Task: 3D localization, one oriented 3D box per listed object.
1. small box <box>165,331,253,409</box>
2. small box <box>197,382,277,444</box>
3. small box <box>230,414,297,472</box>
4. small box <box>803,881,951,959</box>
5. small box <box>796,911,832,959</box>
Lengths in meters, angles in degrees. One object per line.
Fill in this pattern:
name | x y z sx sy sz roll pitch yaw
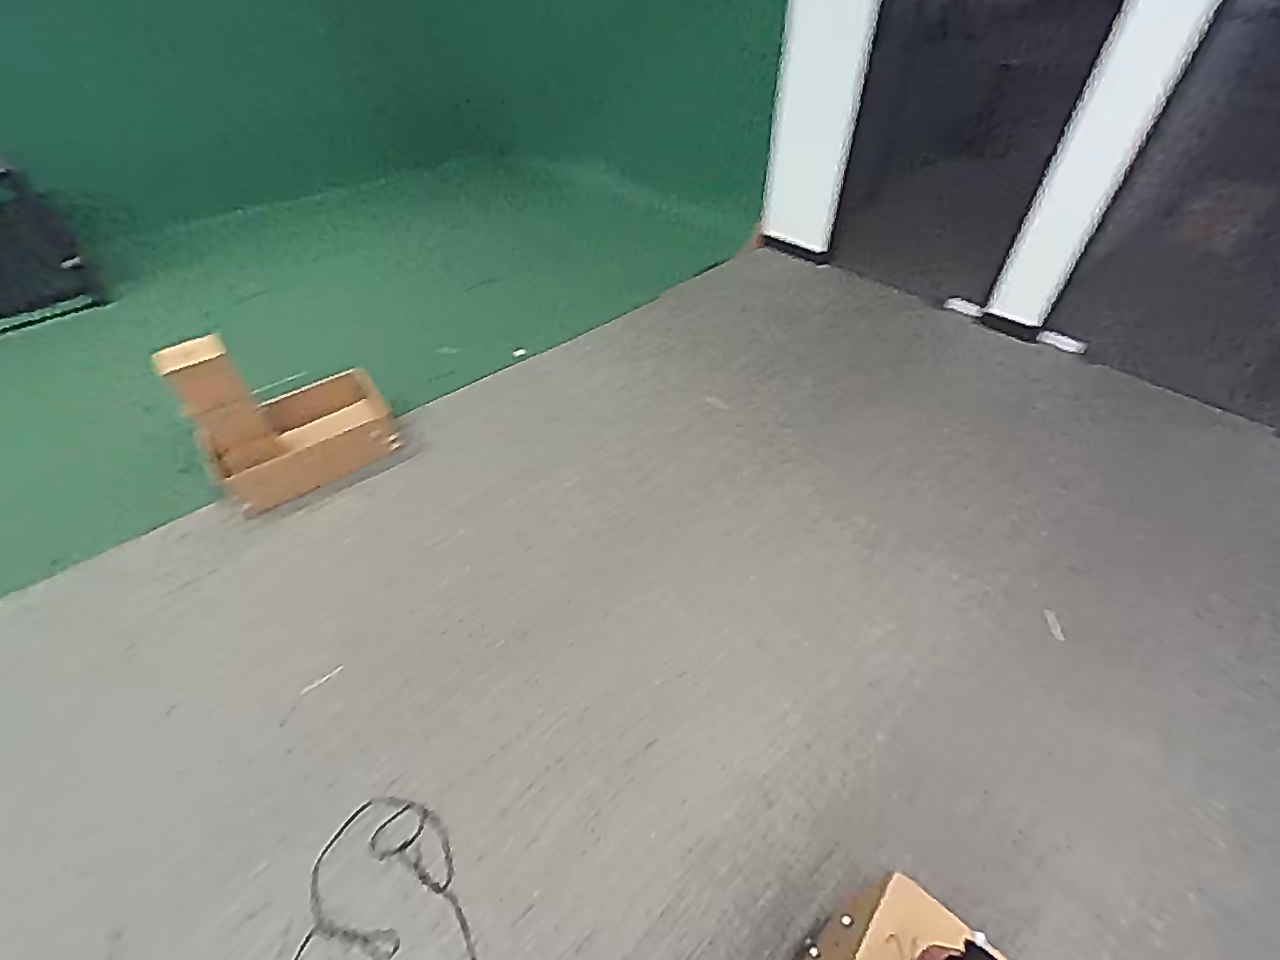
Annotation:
small box | -1.459 -0.375 1.843 0.179 0.176 0.168 -31 53 -25
small box | -1.466 -0.257 1.960 0.179 0.176 0.168 -30 53 -25
small box | -1.465 -0.153 2.086 0.168 0.176 0.179 -31 54 -25
small box | 0.393 0.838 0.918 0.168 0.176 0.179 36 56 29
small box | 0.405 0.955 1.031 0.179 0.176 0.168 -34 54 -27
